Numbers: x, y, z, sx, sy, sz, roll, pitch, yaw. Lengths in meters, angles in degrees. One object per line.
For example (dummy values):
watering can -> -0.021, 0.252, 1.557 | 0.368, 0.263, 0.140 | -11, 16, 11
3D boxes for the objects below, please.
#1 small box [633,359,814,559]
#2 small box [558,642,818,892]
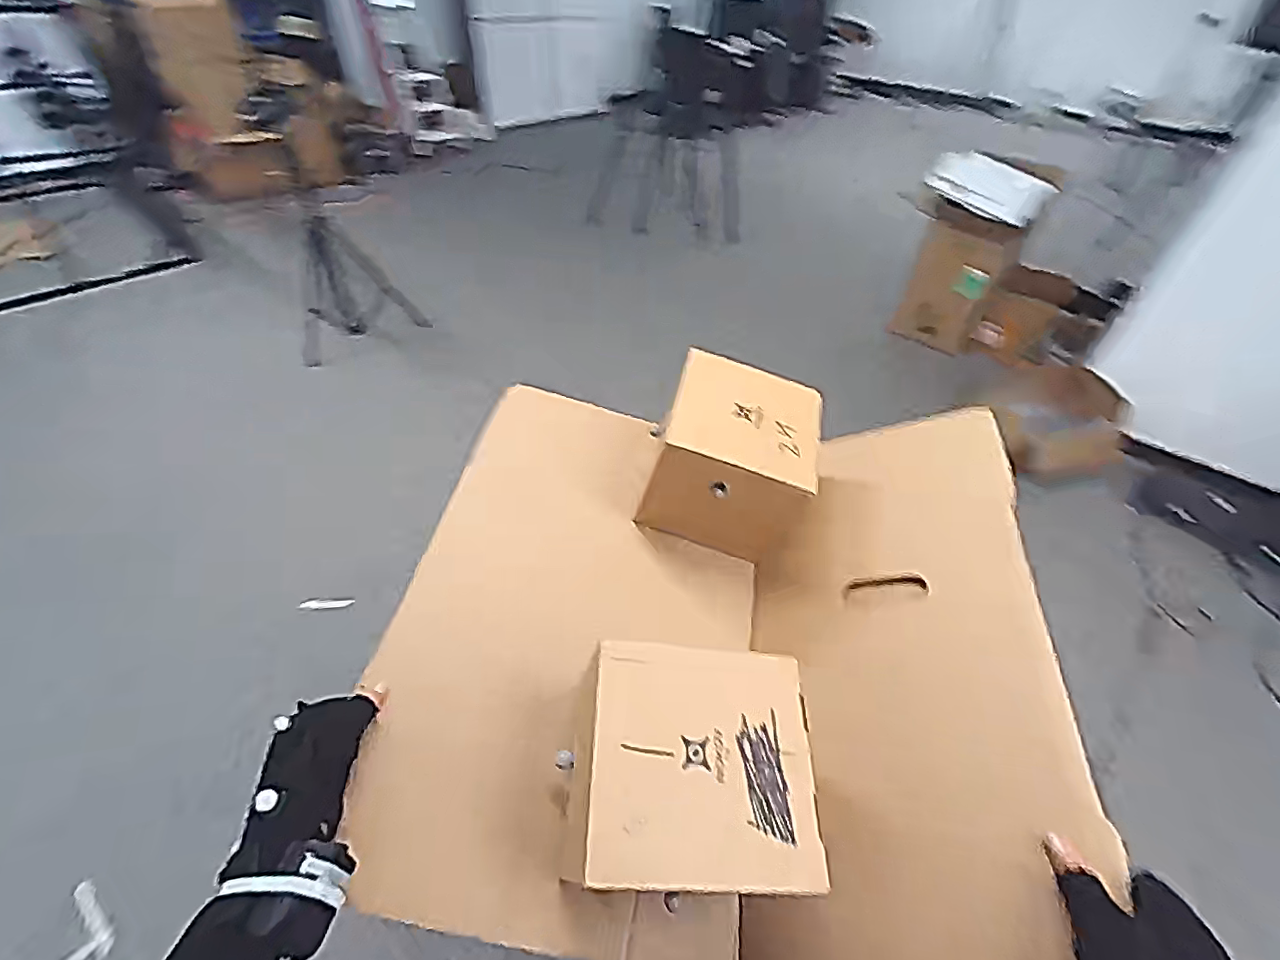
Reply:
small box -> 0.103, -0.020, 0.702 | 0.179, 0.176, 0.168 | 20, 53, -2
small box -> 0.030, 0.259, 0.483 | 0.179, 0.176, 0.168 | 8, 54, -9
